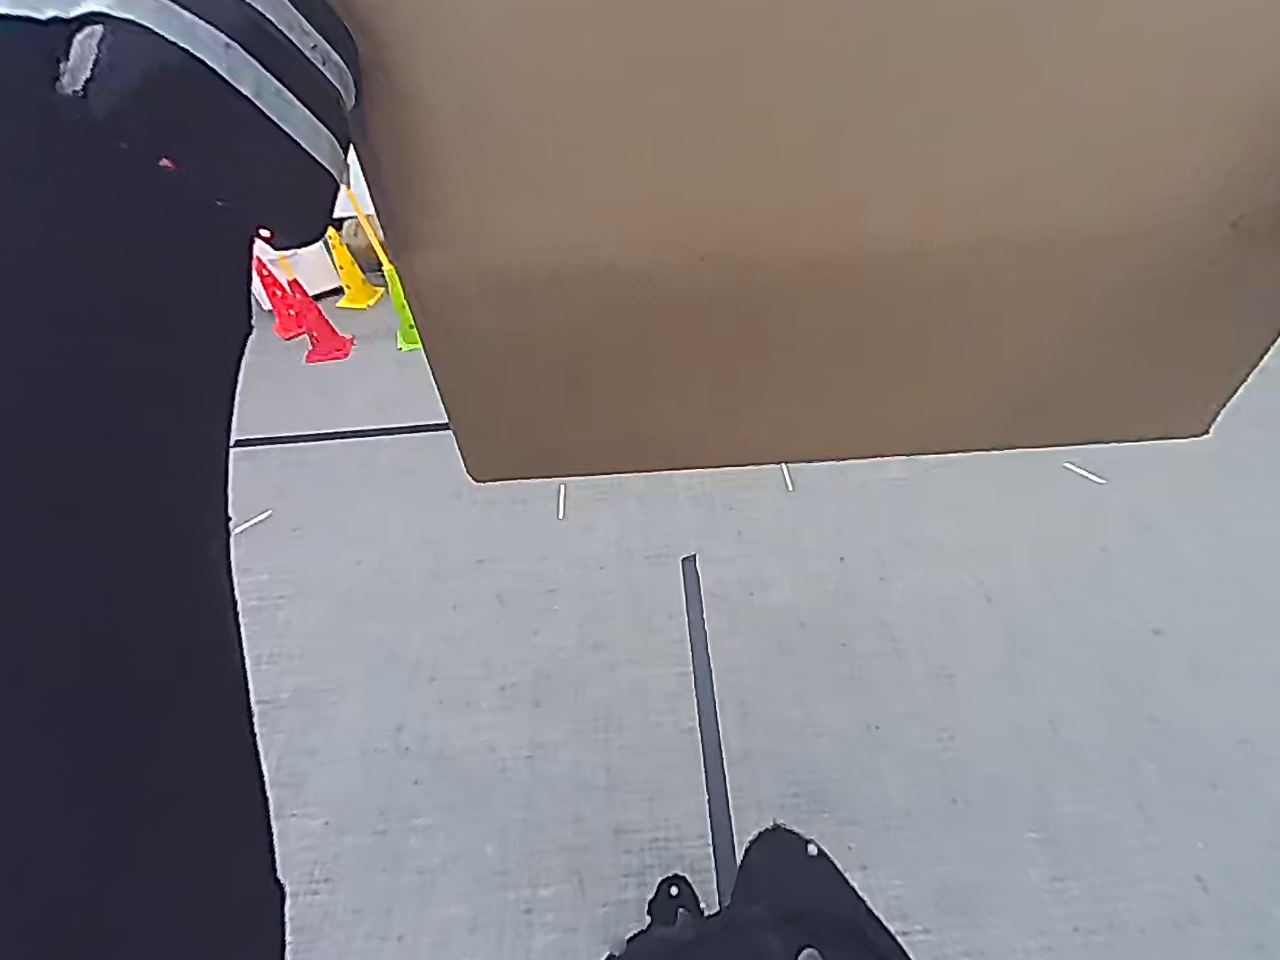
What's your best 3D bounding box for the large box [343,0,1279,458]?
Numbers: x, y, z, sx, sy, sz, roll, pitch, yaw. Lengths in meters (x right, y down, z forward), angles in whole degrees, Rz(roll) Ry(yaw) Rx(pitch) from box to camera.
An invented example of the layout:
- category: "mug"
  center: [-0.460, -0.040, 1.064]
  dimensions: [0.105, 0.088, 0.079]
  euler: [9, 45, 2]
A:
- category: "large box"
  center: [0.090, -0.232, 0.321]
  dimensions: [0.408, 0.320, 0.320]
  euler: [-3, 41, 0]
